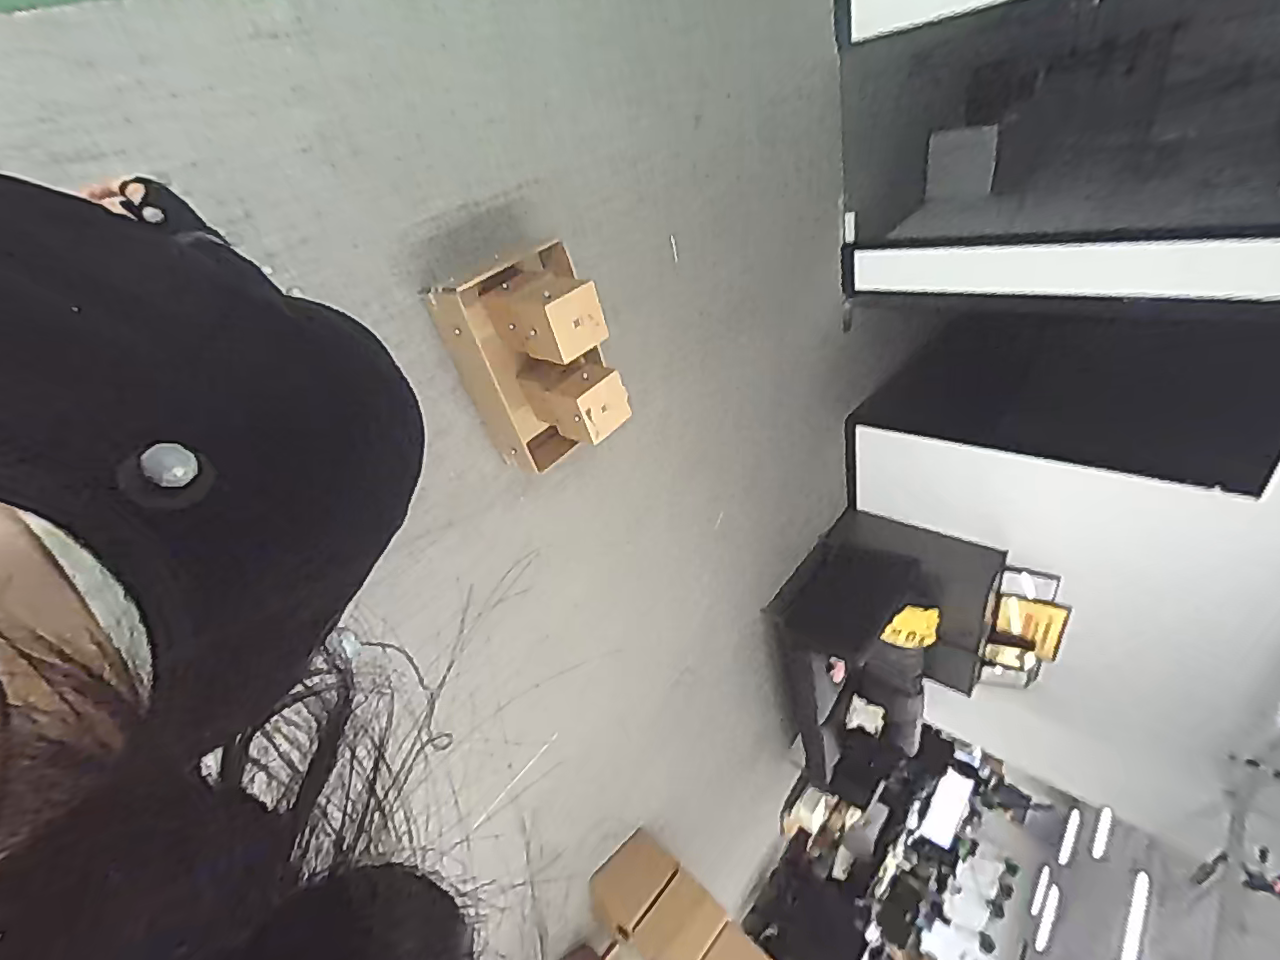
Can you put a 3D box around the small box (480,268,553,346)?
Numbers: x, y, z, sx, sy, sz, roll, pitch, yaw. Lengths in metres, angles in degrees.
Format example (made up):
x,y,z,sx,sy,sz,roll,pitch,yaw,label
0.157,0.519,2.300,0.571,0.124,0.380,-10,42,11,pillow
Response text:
x,y,z,sx,sy,sz,roll,pitch,yaw,label
-0.340,-0.508,1.596,0.168,0.176,0.179,-44,135,-26,small box

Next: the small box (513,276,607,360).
x,y,z,sx,sy,sz,roll,pitch,yaw,label
-0.226,-0.451,1.492,0.179,0.176,0.168,-40,133,-29,small box

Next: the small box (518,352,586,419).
x,y,z,sx,sy,sz,roll,pitch,yaw,label
-0.266,-0.305,1.758,0.168,0.176,0.179,-44,135,-25,small box

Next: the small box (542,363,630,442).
x,y,z,sx,sy,sz,roll,pitch,yaw,label
-0.164,-0.243,1.646,0.179,0.176,0.168,-43,132,-29,small box
